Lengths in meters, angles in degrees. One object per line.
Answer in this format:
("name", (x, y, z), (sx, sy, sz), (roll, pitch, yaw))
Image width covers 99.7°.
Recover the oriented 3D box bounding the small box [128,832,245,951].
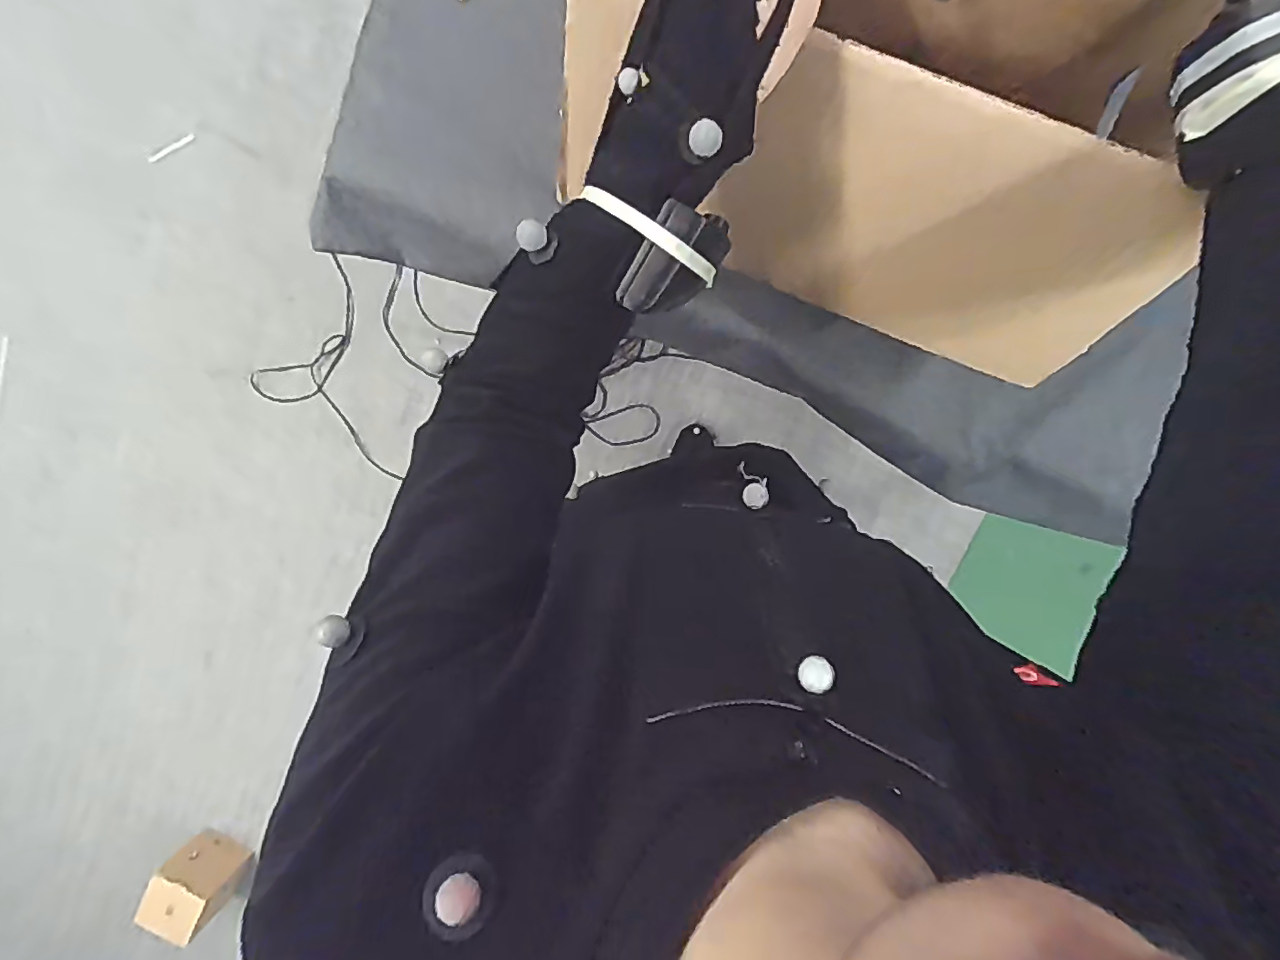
("small box", (-1.268, 1.150, 1.525), (0.168, 0.176, 0.179), (27, 99, 1))
